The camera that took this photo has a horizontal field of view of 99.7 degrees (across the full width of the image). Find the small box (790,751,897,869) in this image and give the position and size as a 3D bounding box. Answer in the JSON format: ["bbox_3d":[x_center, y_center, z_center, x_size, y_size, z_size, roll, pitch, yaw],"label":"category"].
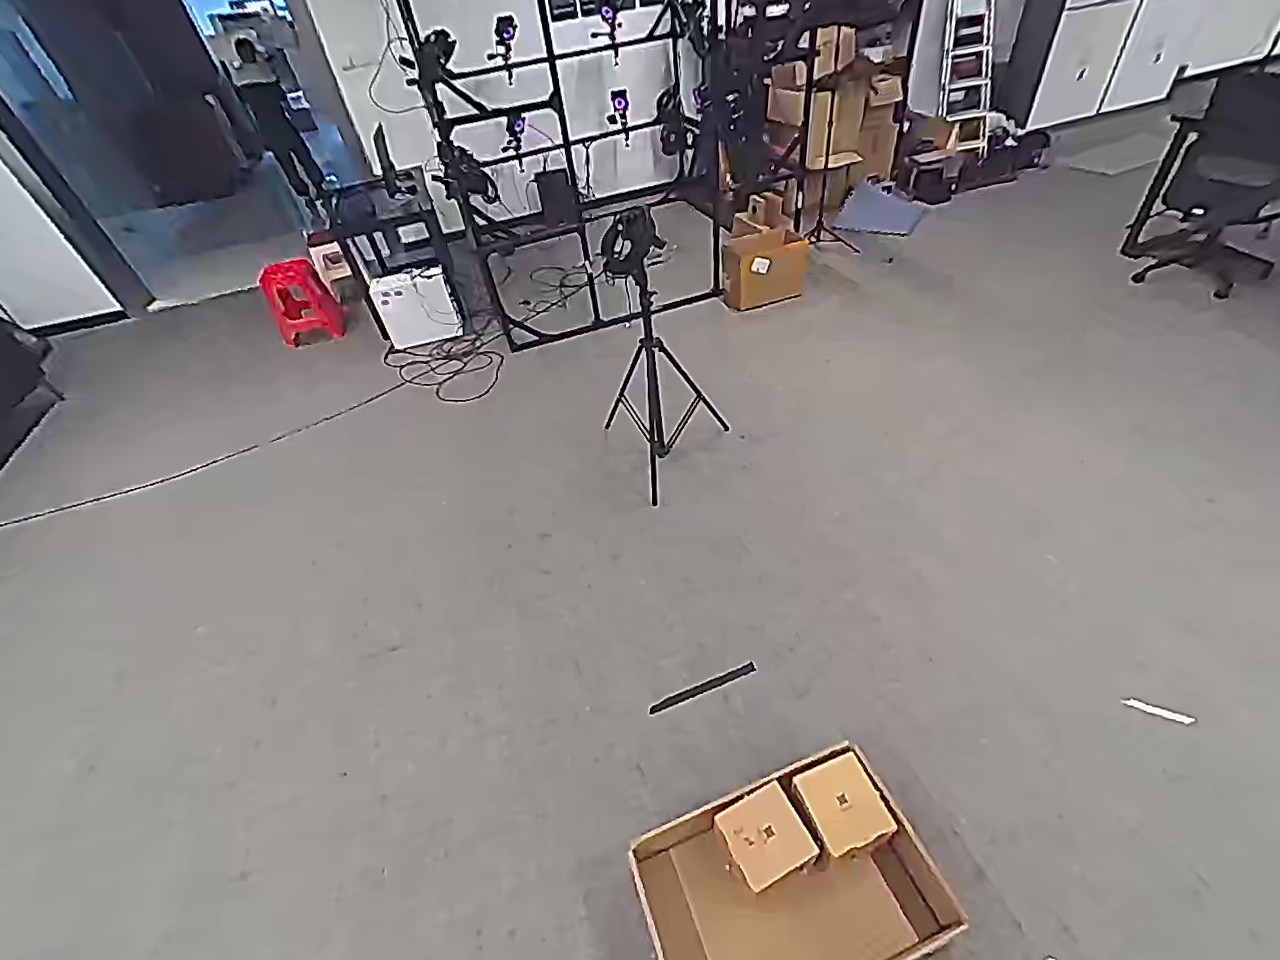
[{"bbox_3d":[0.479,0.797,1.304,0.168,0.176,0.179,-19,47,-9],"label":"small box"}]
